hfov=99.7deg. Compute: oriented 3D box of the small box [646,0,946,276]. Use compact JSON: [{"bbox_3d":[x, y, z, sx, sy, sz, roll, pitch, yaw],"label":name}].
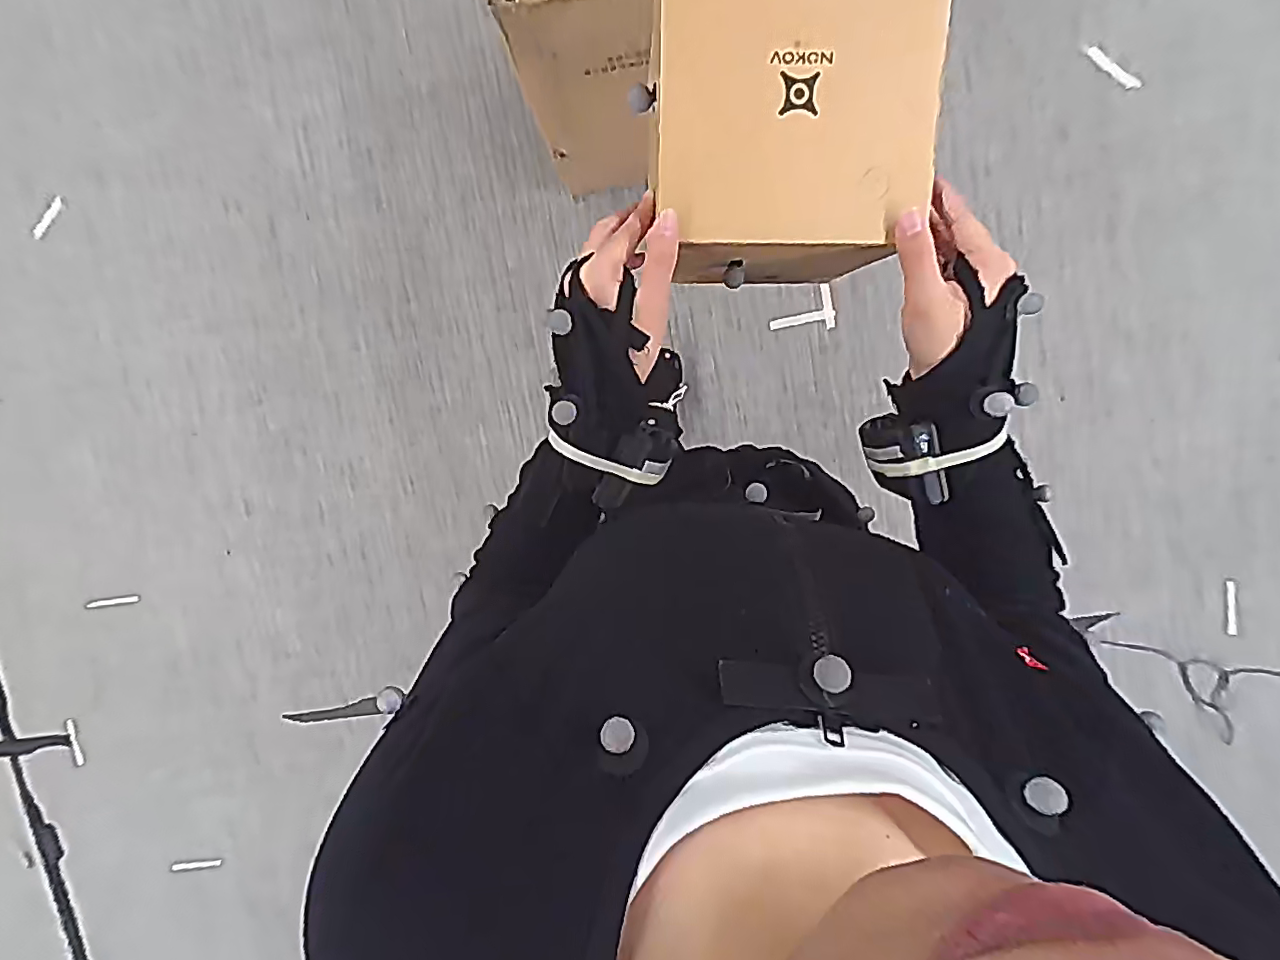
[{"bbox_3d":[0.089,-0.250,0.388,0.168,0.176,0.179,0,100,0],"label":"small box"}]
